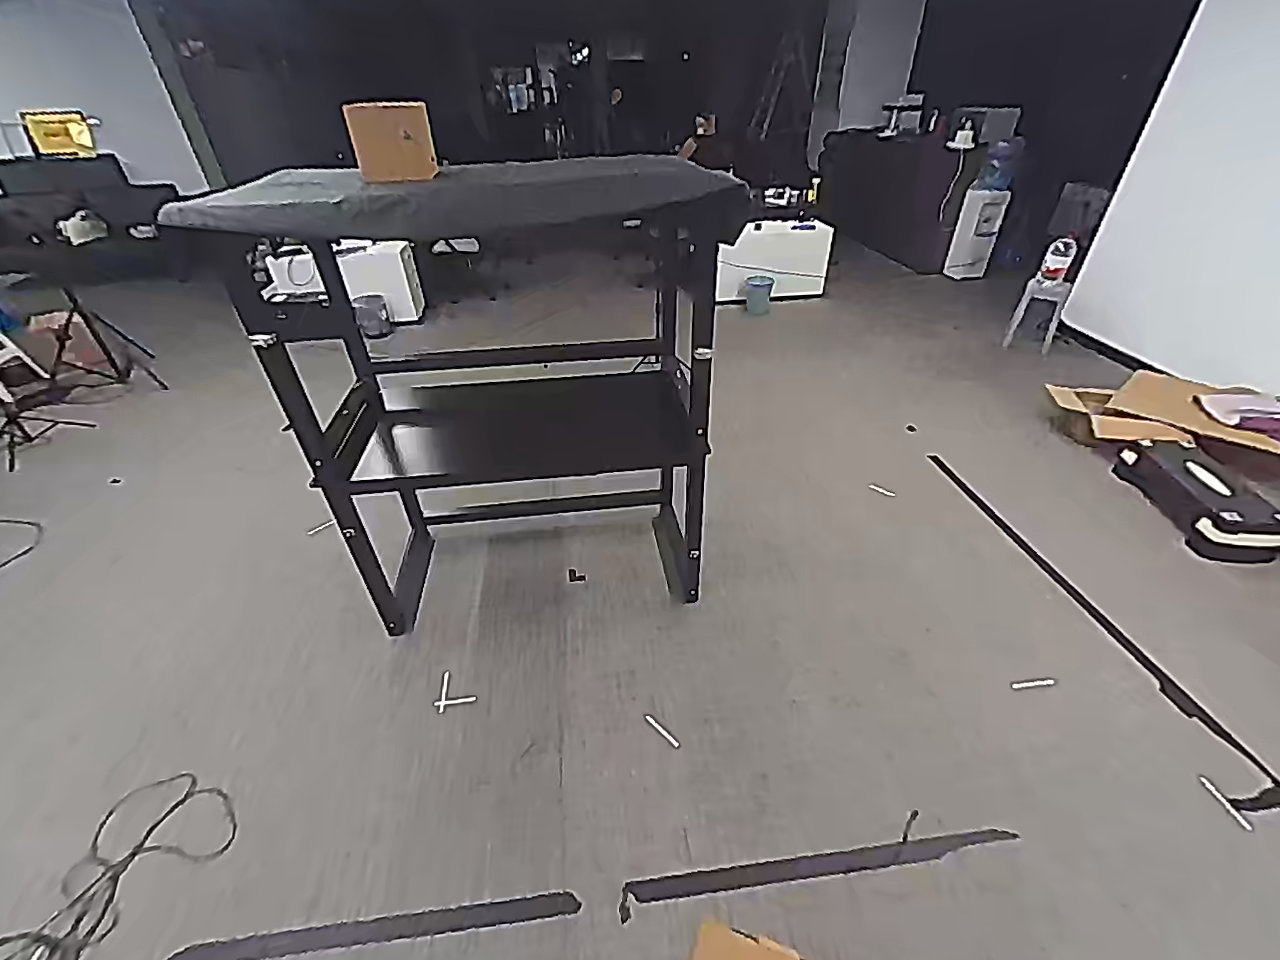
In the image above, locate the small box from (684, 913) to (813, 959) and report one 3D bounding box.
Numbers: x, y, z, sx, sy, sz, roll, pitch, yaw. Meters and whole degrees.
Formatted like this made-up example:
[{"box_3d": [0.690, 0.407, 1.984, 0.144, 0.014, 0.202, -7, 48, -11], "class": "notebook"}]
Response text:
[{"box_3d": [0.114, 0.595, 0.560, 0.168, 0.176, 0.179, 14, 48, 14], "class": "small box"}]
